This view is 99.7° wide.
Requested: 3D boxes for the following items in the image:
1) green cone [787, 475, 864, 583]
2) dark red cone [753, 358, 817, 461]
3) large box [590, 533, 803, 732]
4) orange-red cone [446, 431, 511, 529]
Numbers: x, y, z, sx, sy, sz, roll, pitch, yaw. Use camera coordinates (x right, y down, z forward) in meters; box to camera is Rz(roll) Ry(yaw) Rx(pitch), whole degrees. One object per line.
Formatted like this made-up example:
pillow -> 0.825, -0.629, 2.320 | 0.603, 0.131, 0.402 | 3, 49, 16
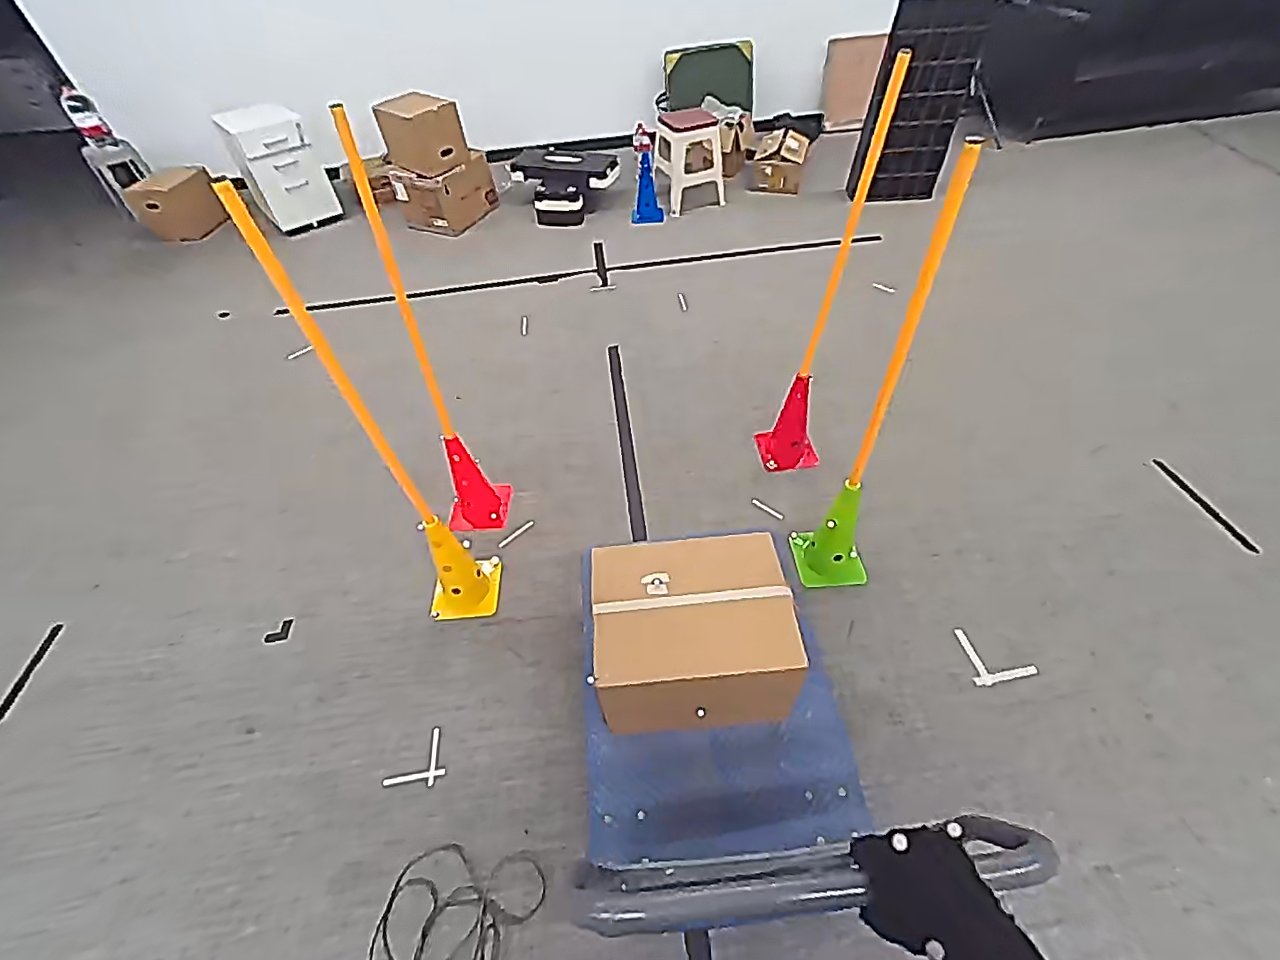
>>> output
green cone -> 0.576, 0.122, 1.579 | 0.202, 0.368, 0.200 | -4, 49, -1
dark red cone -> 0.532, -0.252, 1.886 | 0.201, 0.394, 0.202 | -7, 49, -4
large box -> 0.110, 0.350, 1.222 | 0.408, 0.320, 0.320 | -6, 49, 0
orange-red cone -> -0.575, -0.021, 1.792 | 0.198, 0.360, 0.199 | -1, 47, 2
